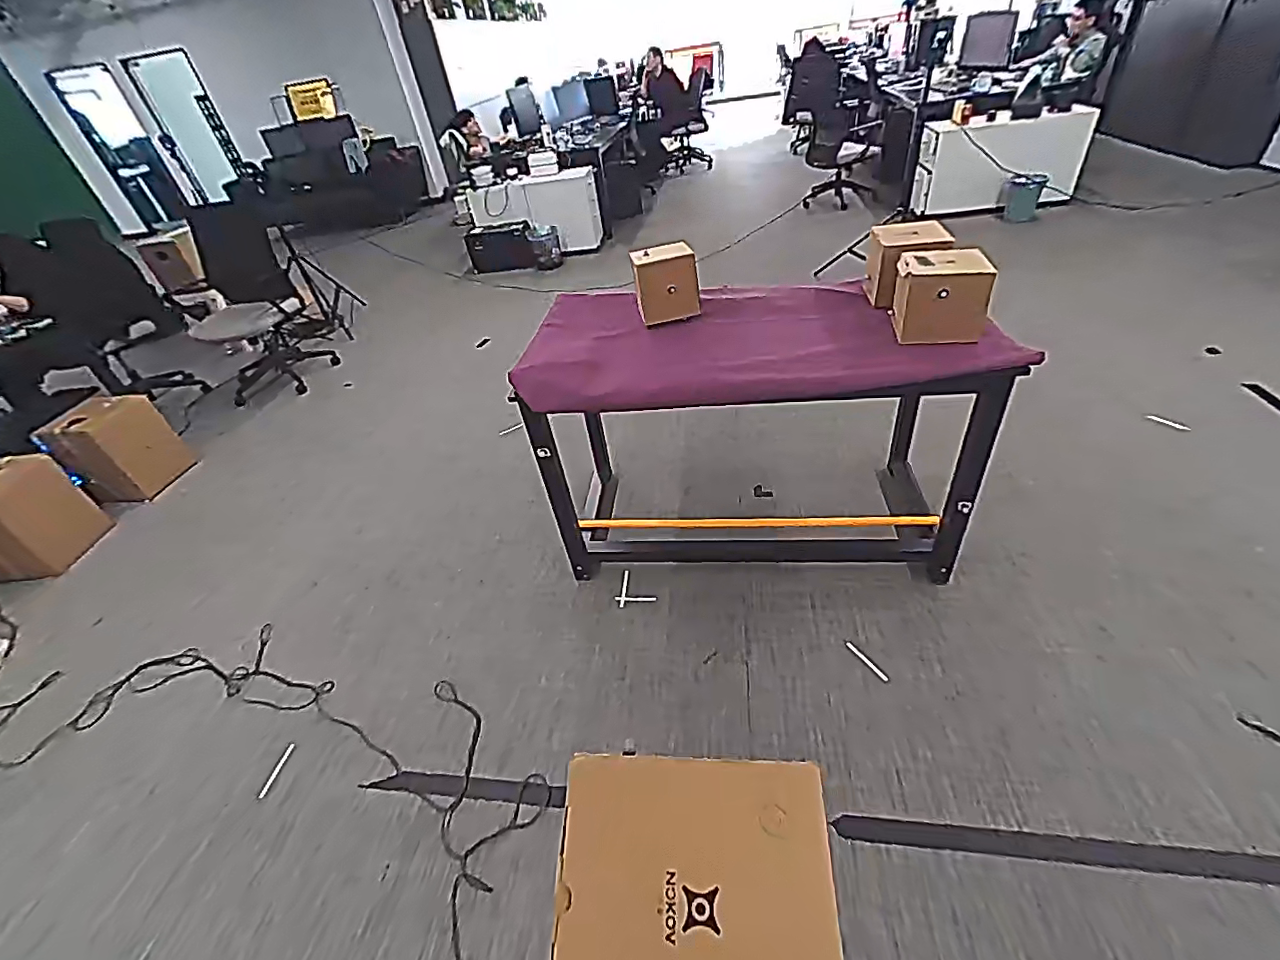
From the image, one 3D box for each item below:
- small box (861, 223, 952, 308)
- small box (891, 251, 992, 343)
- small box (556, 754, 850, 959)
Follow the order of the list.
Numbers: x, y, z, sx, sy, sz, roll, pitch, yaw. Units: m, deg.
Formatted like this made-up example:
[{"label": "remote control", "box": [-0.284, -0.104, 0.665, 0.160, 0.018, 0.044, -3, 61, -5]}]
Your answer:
[{"label": "small box", "box": [0.725, -0.591, 1.494, 0.179, 0.176, 0.168, -2, 40, 10]}, {"label": "small box", "box": [0.718, -0.441, 1.312, 0.179, 0.176, 0.168, 2, 39, 14]}, {"label": "small box", "box": [0.045, 0.302, 0.398, 0.179, 0.176, 0.168, -2, 57, 7]}]
